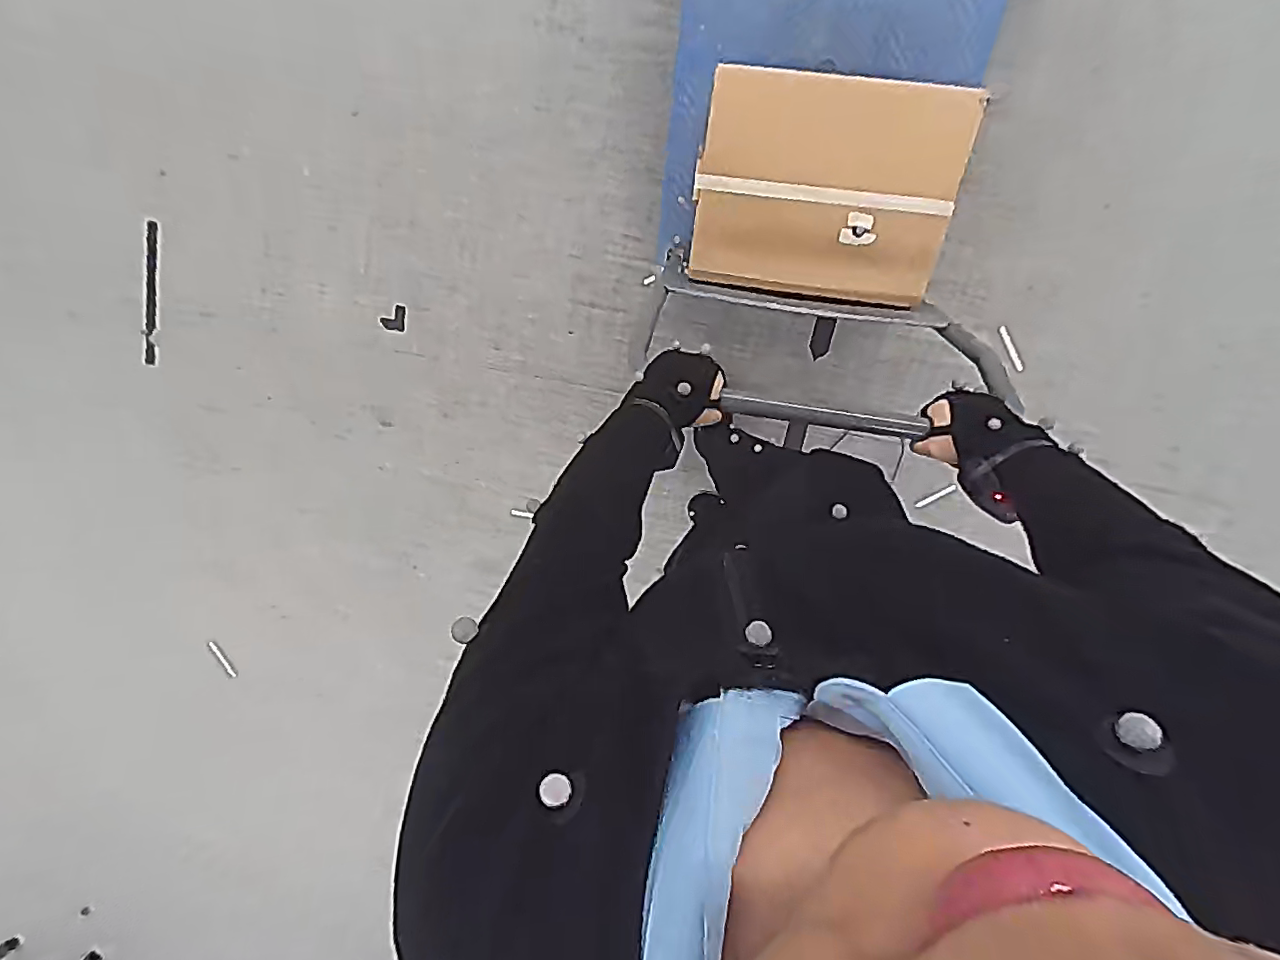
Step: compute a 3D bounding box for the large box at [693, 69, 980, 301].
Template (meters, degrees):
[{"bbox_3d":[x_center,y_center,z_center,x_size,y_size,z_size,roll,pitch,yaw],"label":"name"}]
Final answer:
[{"bbox_3d":[0.318,-0.540,1.022,0.408,0.320,0.320,8,119,3],"label":"large box"}]
